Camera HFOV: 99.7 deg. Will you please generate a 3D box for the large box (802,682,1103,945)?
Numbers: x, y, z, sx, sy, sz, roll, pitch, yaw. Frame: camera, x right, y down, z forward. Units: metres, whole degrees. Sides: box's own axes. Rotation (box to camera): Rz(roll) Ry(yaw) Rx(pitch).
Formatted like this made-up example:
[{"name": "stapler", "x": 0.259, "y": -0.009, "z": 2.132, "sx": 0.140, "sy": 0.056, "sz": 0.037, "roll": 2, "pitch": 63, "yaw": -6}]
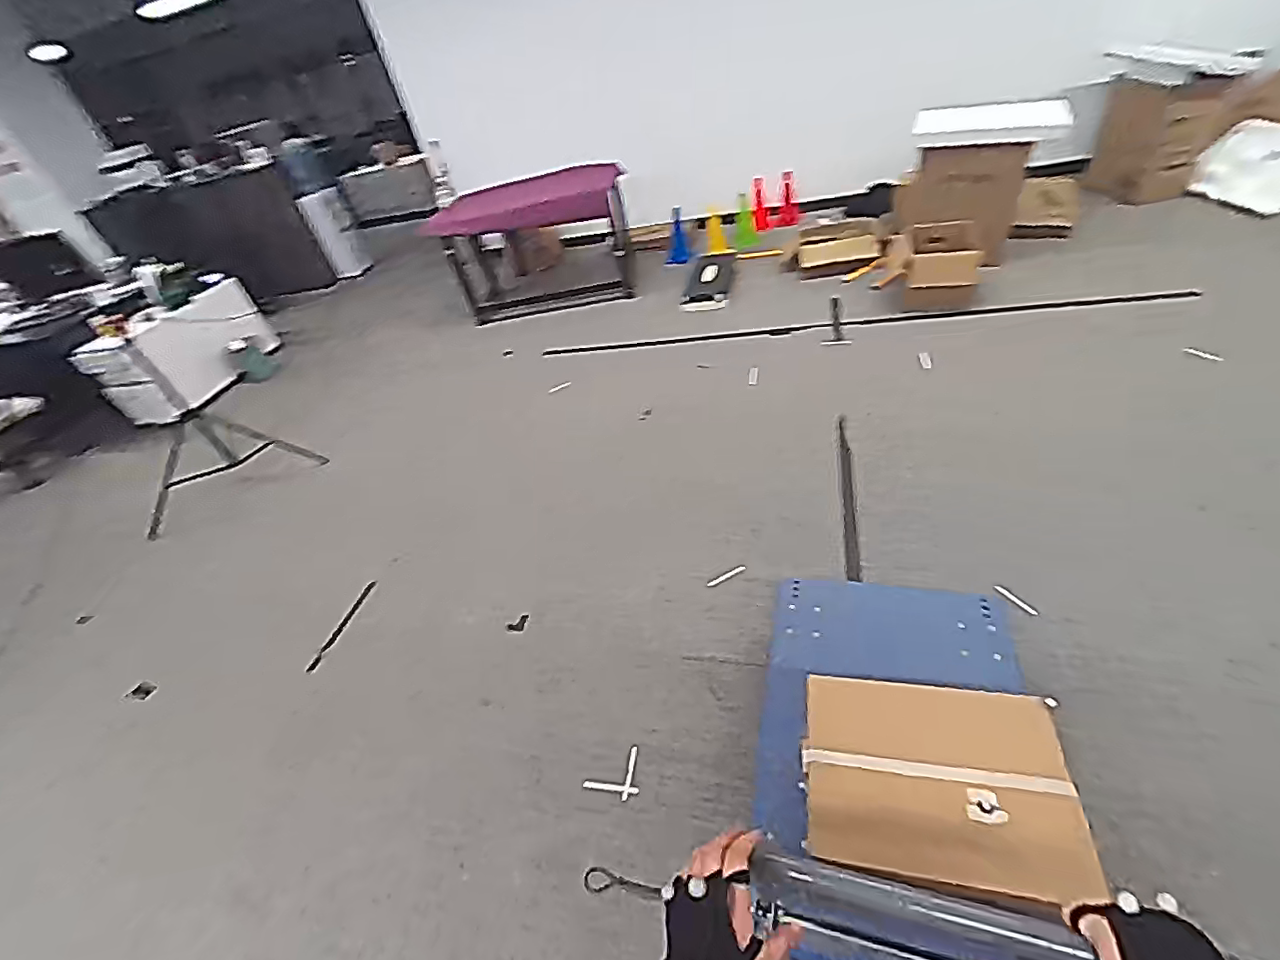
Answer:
[{"name": "large box", "x": 0.520, "y": 0.614, "z": 1.017, "sx": 0.408, "sy": 0.320, "sz": 0.320, "roll": 0, "pitch": 43, "yaw": 16}]
